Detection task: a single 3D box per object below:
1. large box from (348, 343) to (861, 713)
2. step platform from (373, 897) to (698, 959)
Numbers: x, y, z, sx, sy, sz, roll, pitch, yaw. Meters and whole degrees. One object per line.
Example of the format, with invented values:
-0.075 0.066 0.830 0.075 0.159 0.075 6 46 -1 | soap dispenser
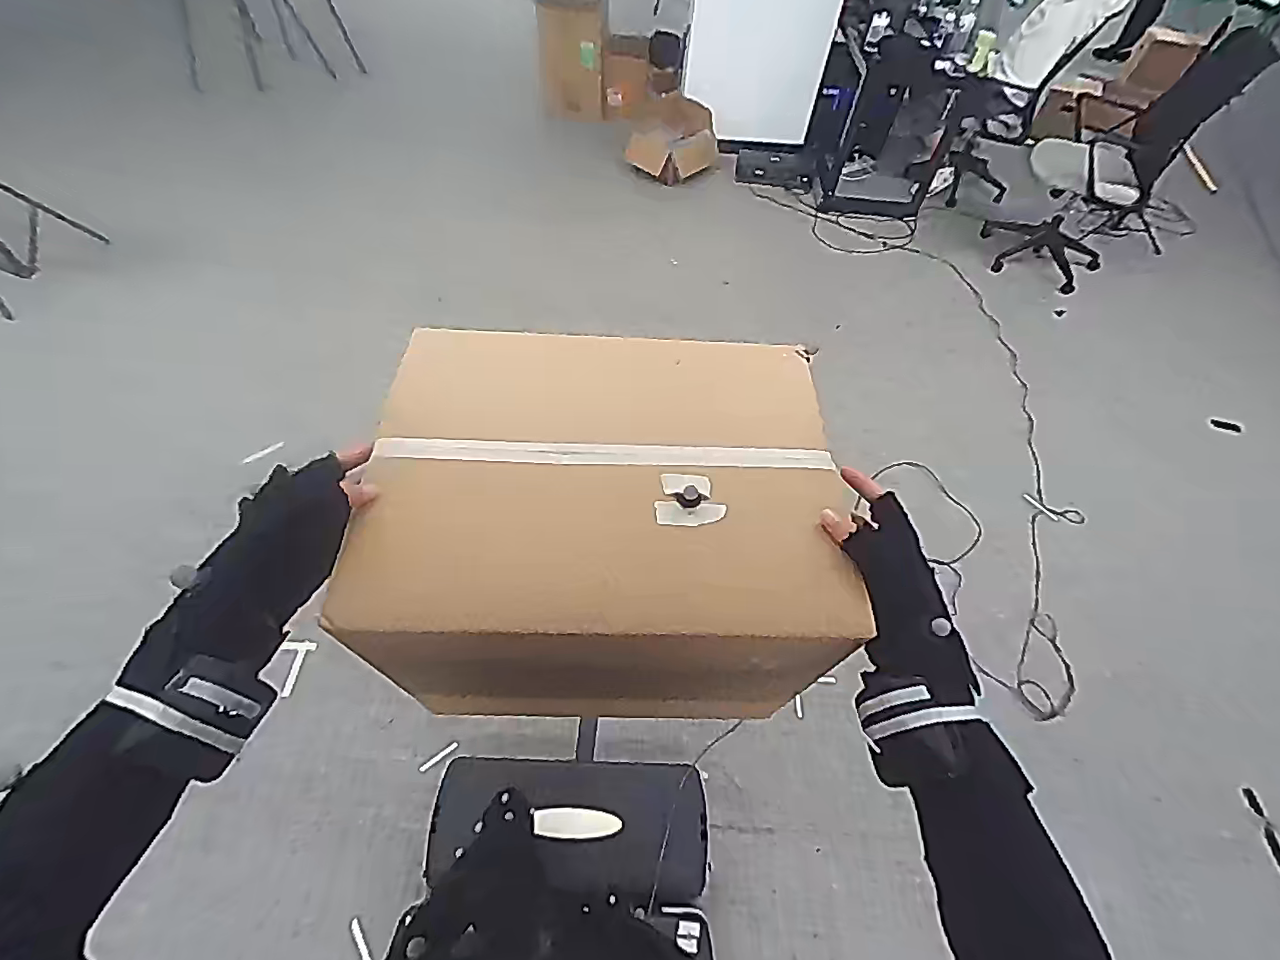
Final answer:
-0.035 0.070 0.618 0.408 0.320 0.320 2 56 -4 | large box
-0.214 1.066 1.132 0.684 0.204 0.286 2 54 -1 | step platform
